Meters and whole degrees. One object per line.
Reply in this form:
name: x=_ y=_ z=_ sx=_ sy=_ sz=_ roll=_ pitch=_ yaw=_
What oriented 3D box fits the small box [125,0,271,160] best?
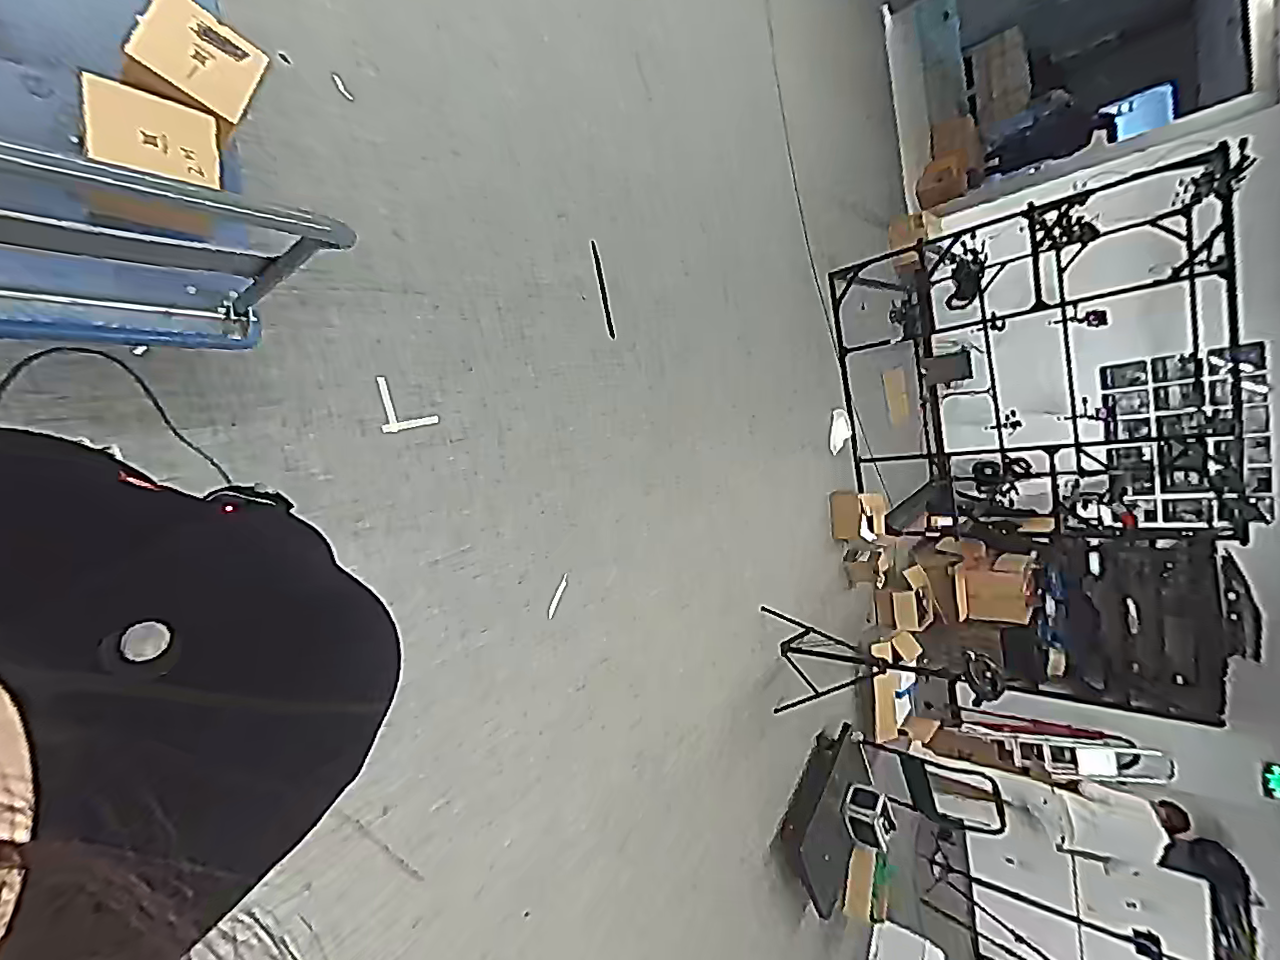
small box: x=-0.856 y=-0.770 z=1.043 sx=0.168 sy=0.176 sz=0.179 roll=27 pitch=69 yaw=-43

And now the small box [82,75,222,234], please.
small box: x=-0.892 y=-0.575 z=0.989 sx=0.179 sy=0.176 sz=0.168 roll=-4 pitch=90 yaw=-47
